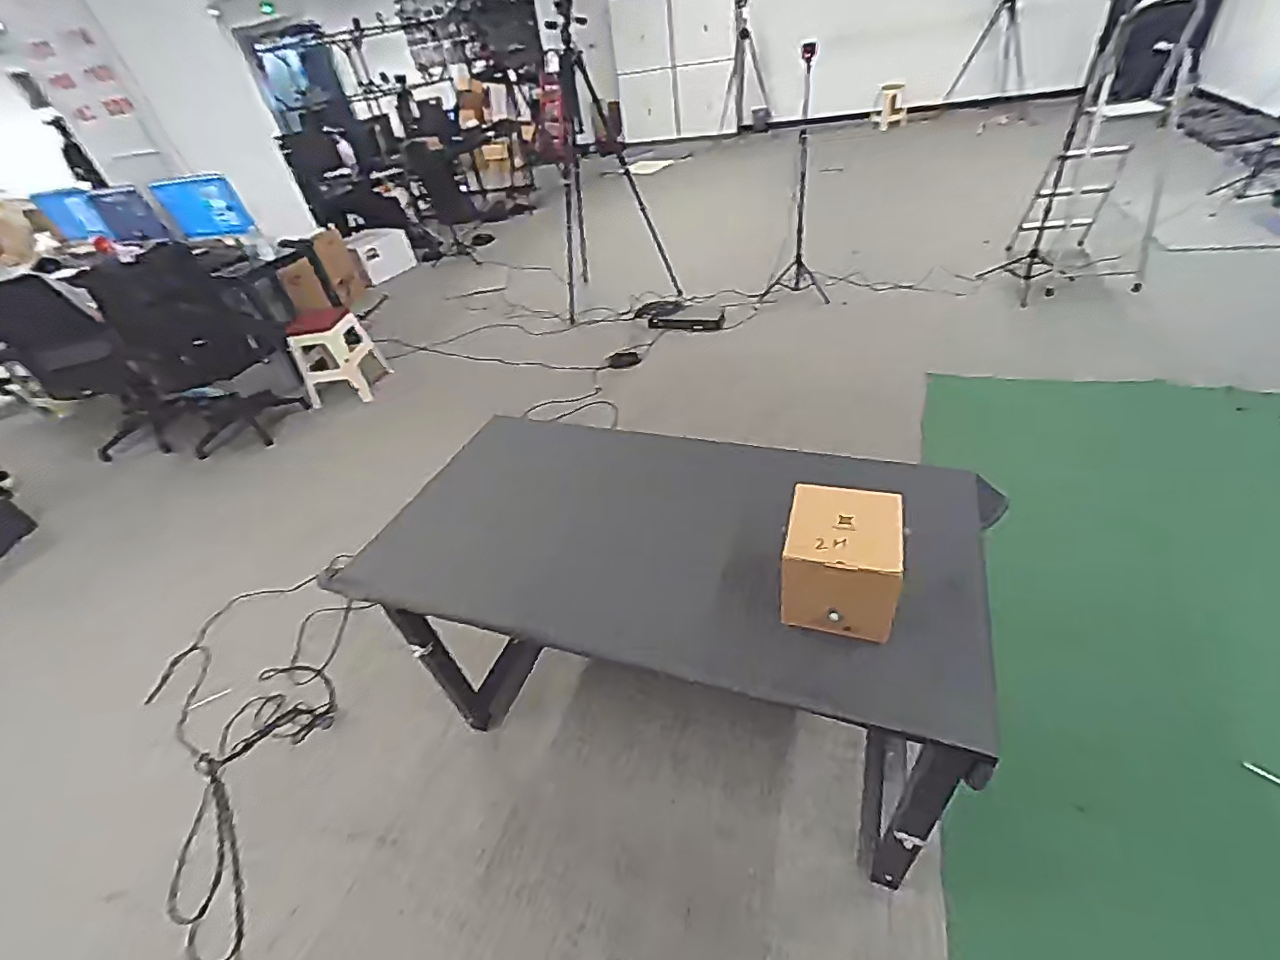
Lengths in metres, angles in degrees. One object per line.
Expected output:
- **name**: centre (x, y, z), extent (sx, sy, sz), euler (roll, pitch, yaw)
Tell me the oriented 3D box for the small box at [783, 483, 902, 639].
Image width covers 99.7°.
- **small box**: centre (0.331, 0.130, 0.893), extent (0.168, 0.176, 0.179), euler (6, 42, 21)
